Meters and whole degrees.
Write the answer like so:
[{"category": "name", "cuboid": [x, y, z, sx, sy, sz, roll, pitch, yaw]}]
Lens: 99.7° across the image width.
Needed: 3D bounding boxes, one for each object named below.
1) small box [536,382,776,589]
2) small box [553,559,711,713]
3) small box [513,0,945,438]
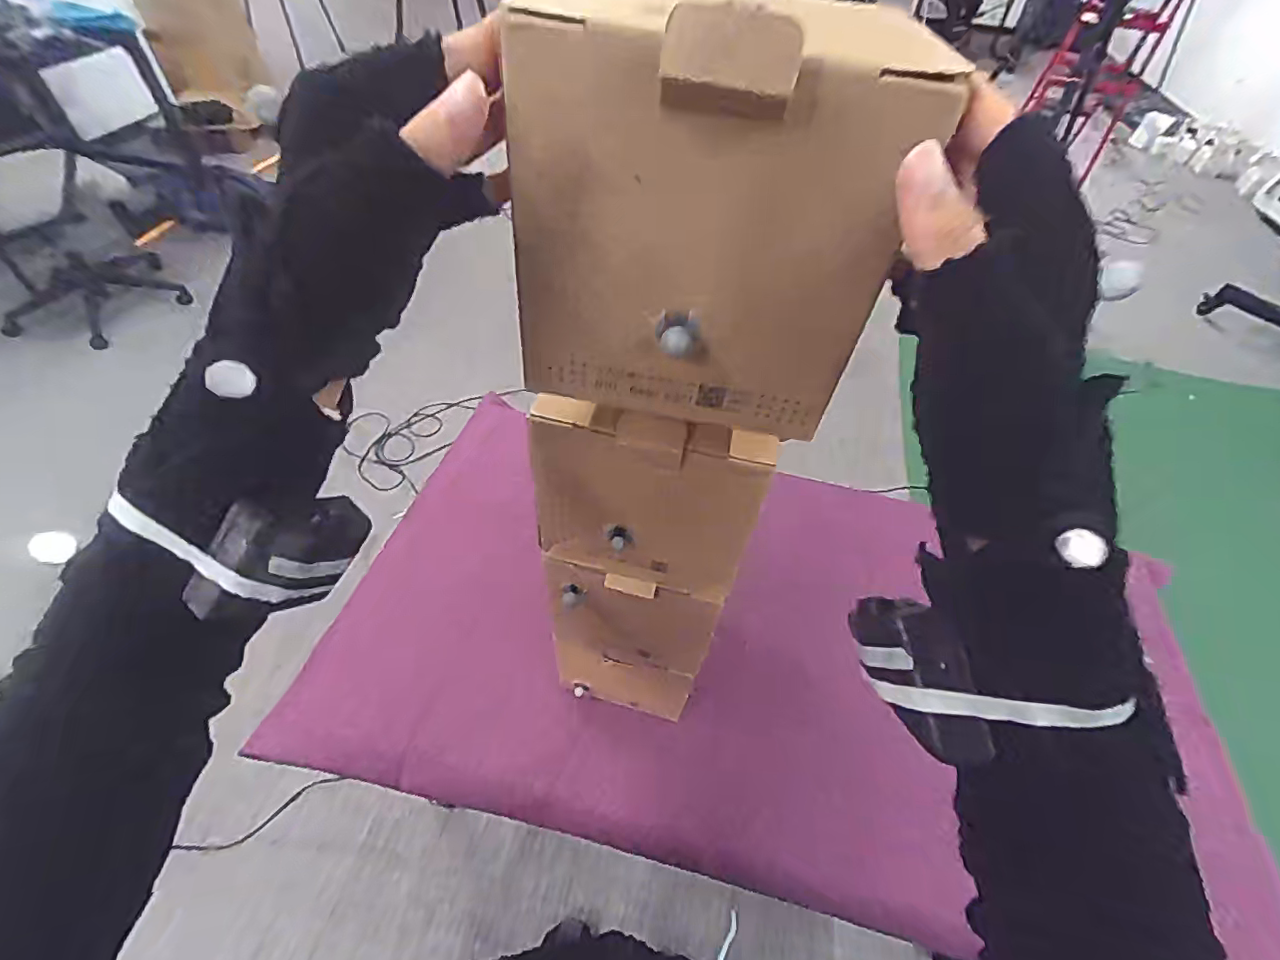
[{"category": "small box", "cuboid": [0.019, -0.035, 0.469, 0.168, 0.176, 0.179, 12, 50, 5]}, {"category": "small box", "cuboid": [-0.002, 0.182, 0.714, 0.168, 0.176, 0.179, 14, 50, 7]}, {"category": "small box", "cuboid": [0.037, -0.152, 0.312, 0.168, 0.176, 0.179, 11, 47, 3]}]
